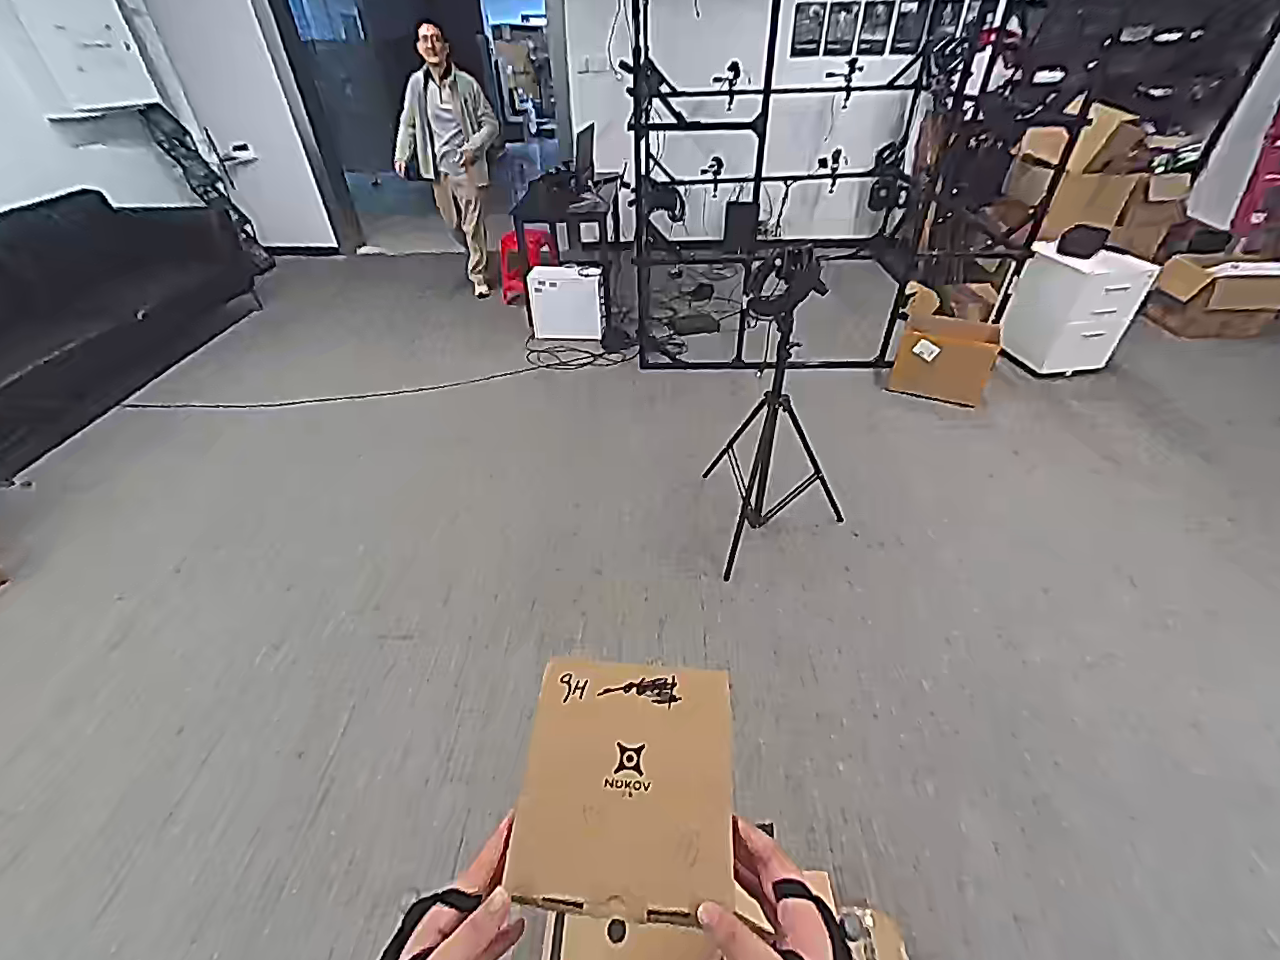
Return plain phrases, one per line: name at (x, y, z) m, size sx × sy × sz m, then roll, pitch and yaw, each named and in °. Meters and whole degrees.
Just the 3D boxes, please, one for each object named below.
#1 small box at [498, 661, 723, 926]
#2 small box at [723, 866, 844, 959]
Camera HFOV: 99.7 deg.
small box at (-0.012, 0.286, 0.493) m, size 0.168 × 0.176 × 0.179 m, roll 3°, pitch 51°, yaw 4°
small box at (0.234, 0.777, 0.903) m, size 0.168 × 0.176 × 0.179 m, roll 0°, pitch 38°, yaw 1°
